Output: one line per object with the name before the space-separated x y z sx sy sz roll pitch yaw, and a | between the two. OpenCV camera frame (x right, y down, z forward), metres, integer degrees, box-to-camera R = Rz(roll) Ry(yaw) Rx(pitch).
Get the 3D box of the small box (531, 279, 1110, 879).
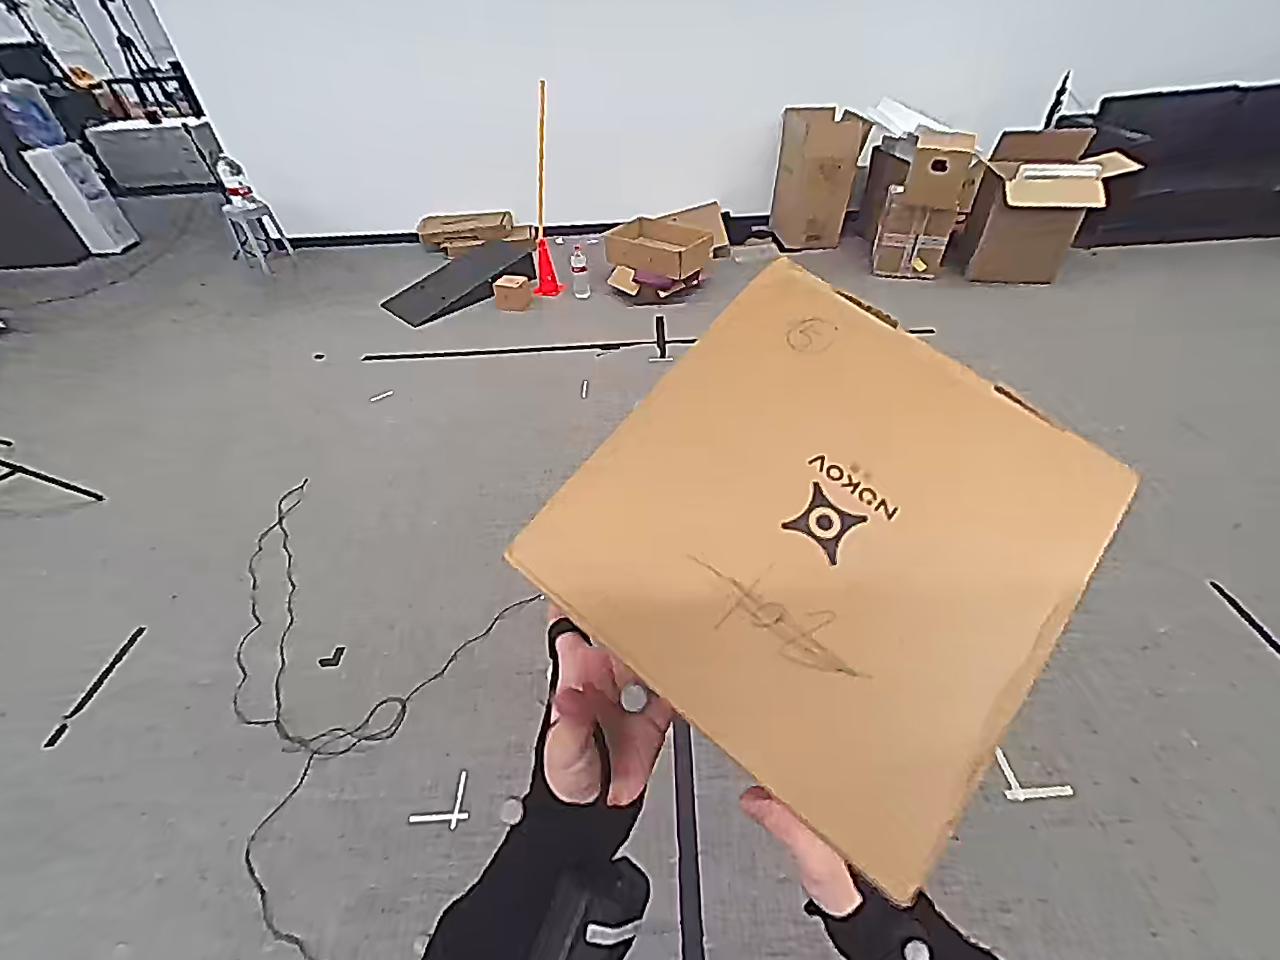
small box | 0.072 0.043 0.285 0.168 0.176 0.179 36 76 13
